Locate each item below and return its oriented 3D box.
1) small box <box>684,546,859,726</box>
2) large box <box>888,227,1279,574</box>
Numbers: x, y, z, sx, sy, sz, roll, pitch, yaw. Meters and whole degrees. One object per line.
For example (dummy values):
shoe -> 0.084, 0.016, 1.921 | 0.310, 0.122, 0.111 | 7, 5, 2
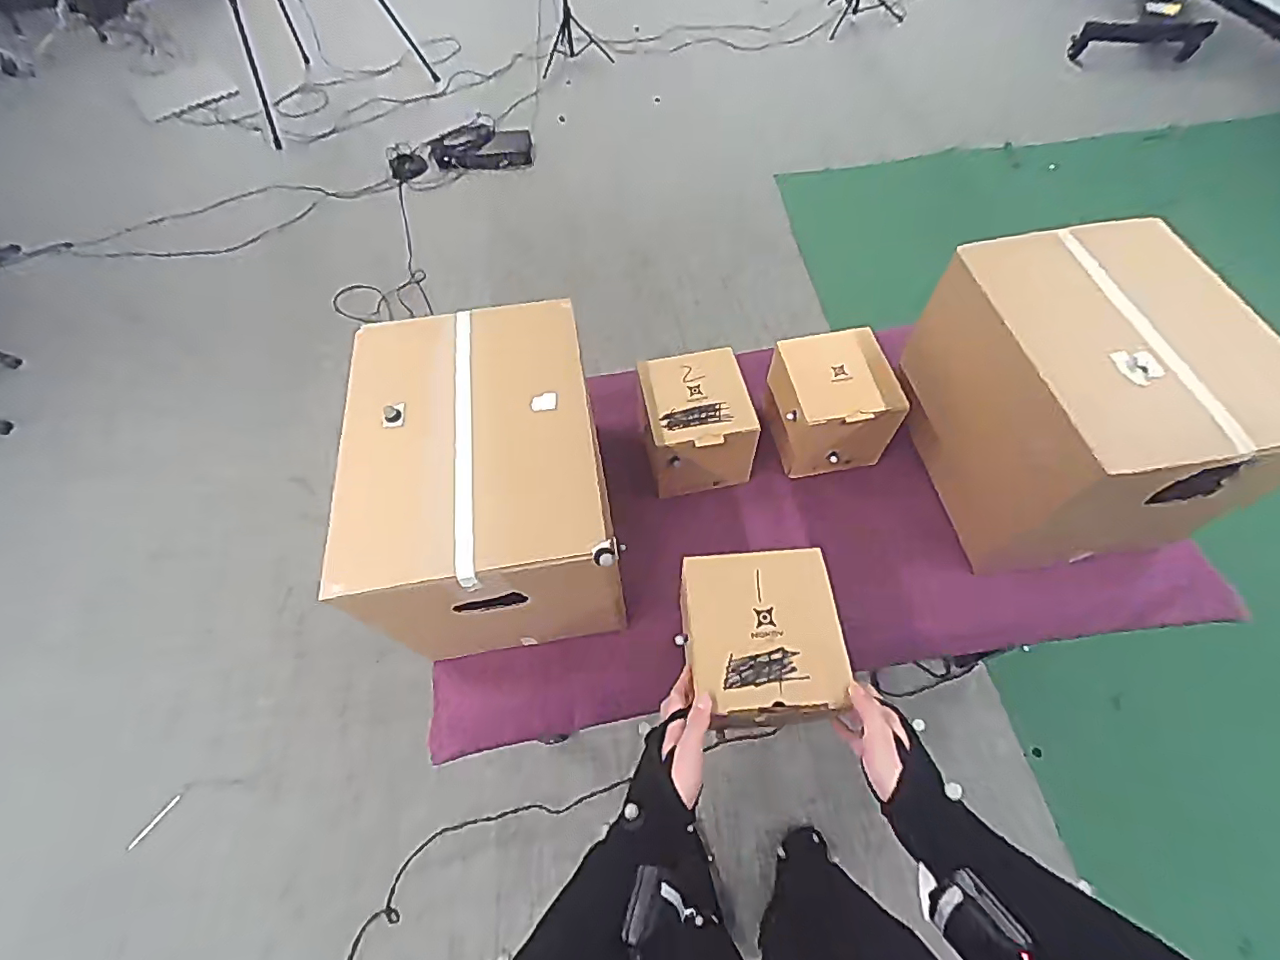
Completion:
small box -> 0.144, 0.199, 0.663 | 0.168, 0.176, 0.179 | -4, 59, 0
large box -> 0.649, -0.113, 0.830 | 0.320, 0.320, 0.408 | -9, 60, -1
